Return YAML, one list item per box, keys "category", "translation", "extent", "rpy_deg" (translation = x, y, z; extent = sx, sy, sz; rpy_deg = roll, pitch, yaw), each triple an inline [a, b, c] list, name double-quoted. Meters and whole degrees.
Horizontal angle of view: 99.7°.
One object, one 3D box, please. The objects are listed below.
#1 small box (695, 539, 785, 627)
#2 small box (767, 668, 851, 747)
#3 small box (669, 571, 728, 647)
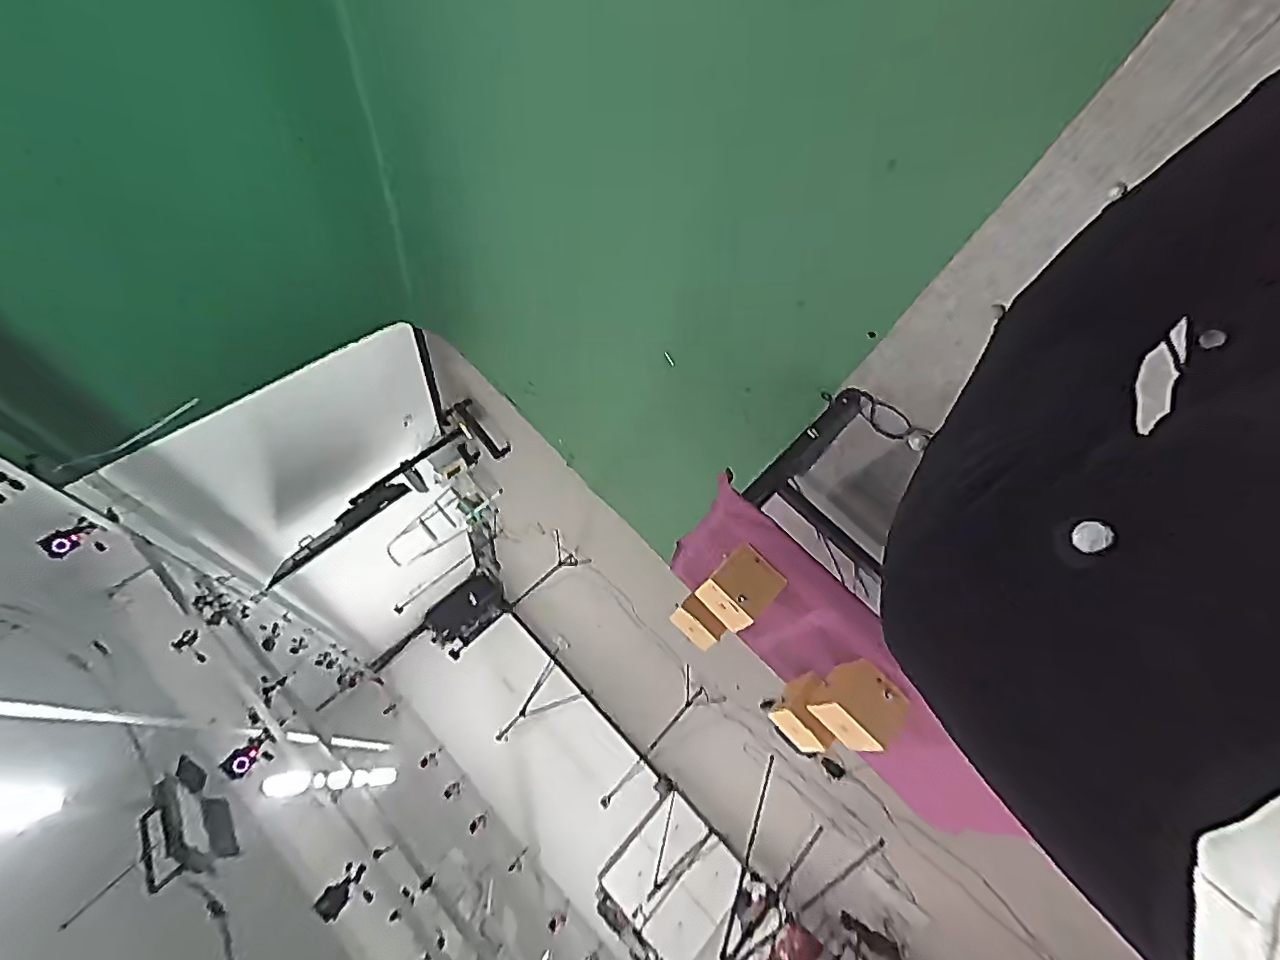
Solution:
- category: "small box"
  translation: [0.294, 0.304, 1.588]
  extent: [0.168, 0.176, 0.179]
  rpy_deg: [43, 155, 10]
- category: "small box"
  translation: [0.557, 0.746, 1.773]
  extent: [0.168, 0.176, 0.179]
  rpy_deg: [44, 152, 12]
- category: "small box"
  translation: [0.230, 0.444, 1.867]
  extent: [0.168, 0.176, 0.179]
  rpy_deg: [41, 152, 11]
